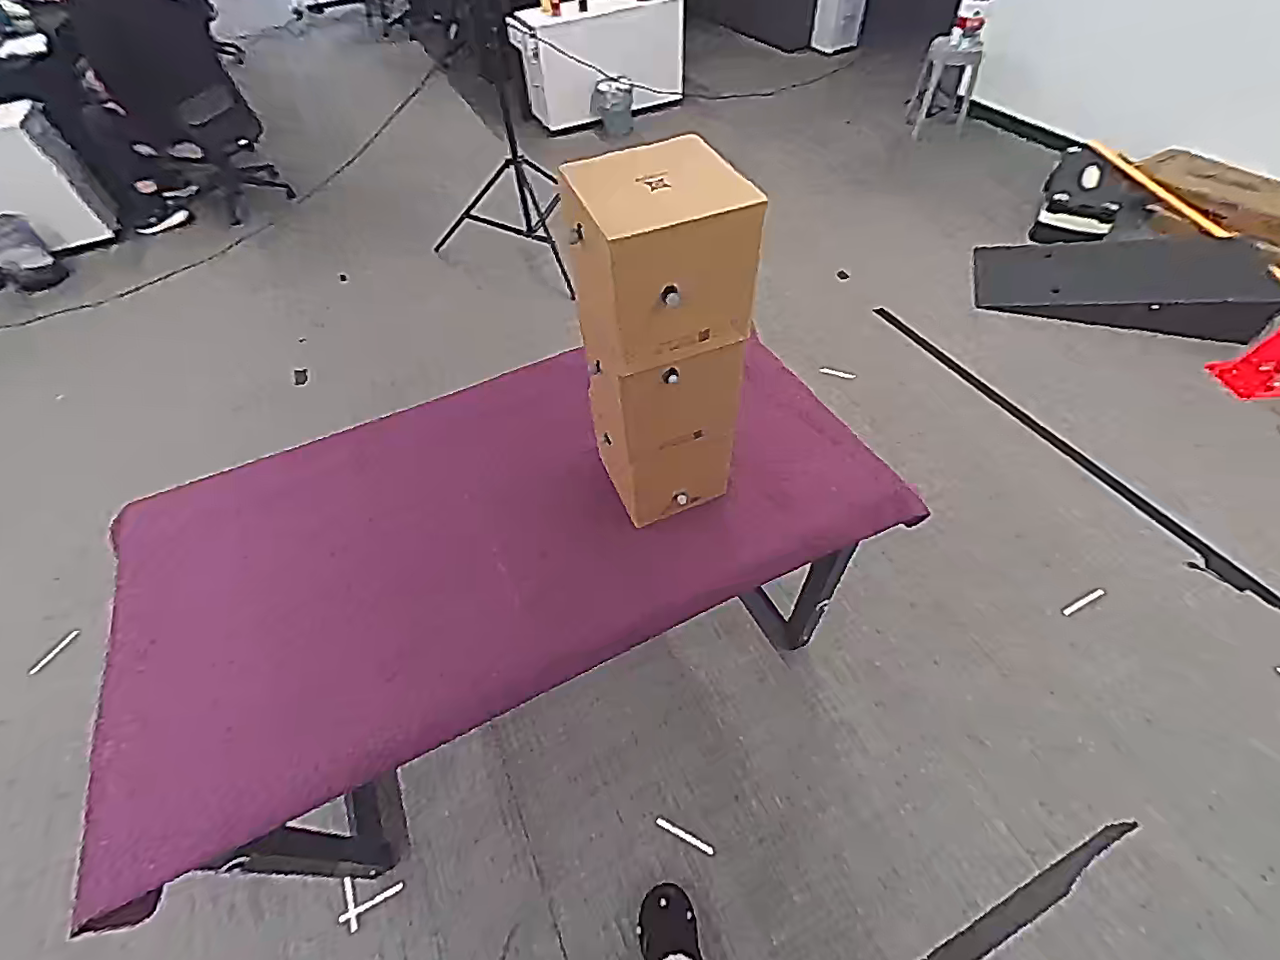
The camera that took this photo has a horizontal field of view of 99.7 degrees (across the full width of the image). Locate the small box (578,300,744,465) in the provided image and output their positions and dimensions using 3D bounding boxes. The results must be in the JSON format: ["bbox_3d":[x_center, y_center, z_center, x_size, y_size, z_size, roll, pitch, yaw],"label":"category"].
[{"bbox_3d":[0.024,-0.151,0.746,0.168,0.176,0.179,-19,53,-10],"label":"small box"}]

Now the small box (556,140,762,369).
[{"bbox_3d":[0.019,-0.247,0.613,0.168,0.176,0.179,-19,53,-10],"label":"small box"}]

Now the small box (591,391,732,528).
[{"bbox_3d":[0.031,-0.054,0.878,0.168,0.176,0.179,-21,54,-12],"label":"small box"}]
